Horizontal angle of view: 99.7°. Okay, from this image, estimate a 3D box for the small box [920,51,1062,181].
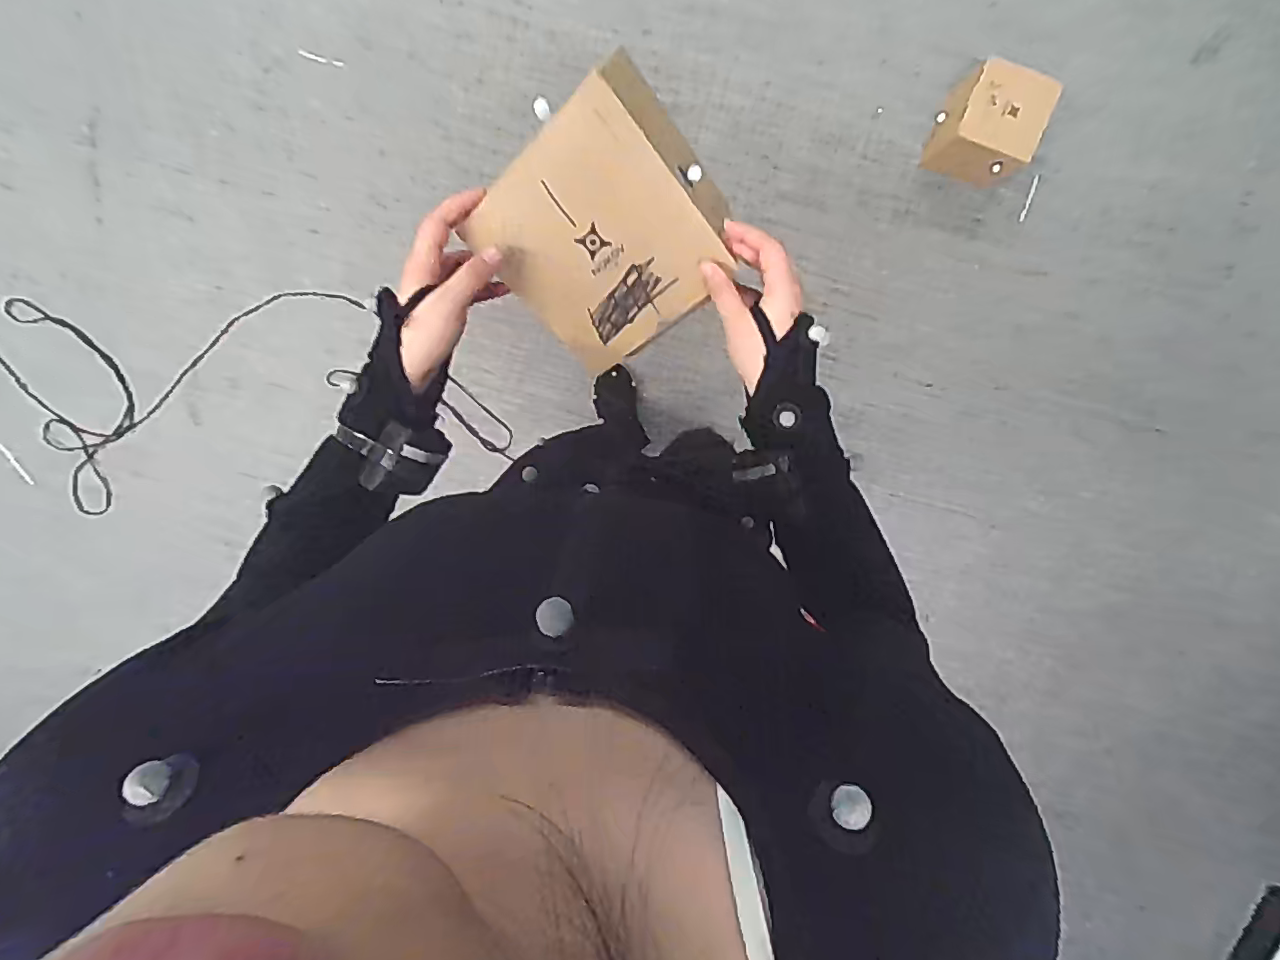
[{"bbox_3d":[0.780,-0.805,1.221,0.179,0.176,0.168,20,101,-3],"label":"small box"}]
